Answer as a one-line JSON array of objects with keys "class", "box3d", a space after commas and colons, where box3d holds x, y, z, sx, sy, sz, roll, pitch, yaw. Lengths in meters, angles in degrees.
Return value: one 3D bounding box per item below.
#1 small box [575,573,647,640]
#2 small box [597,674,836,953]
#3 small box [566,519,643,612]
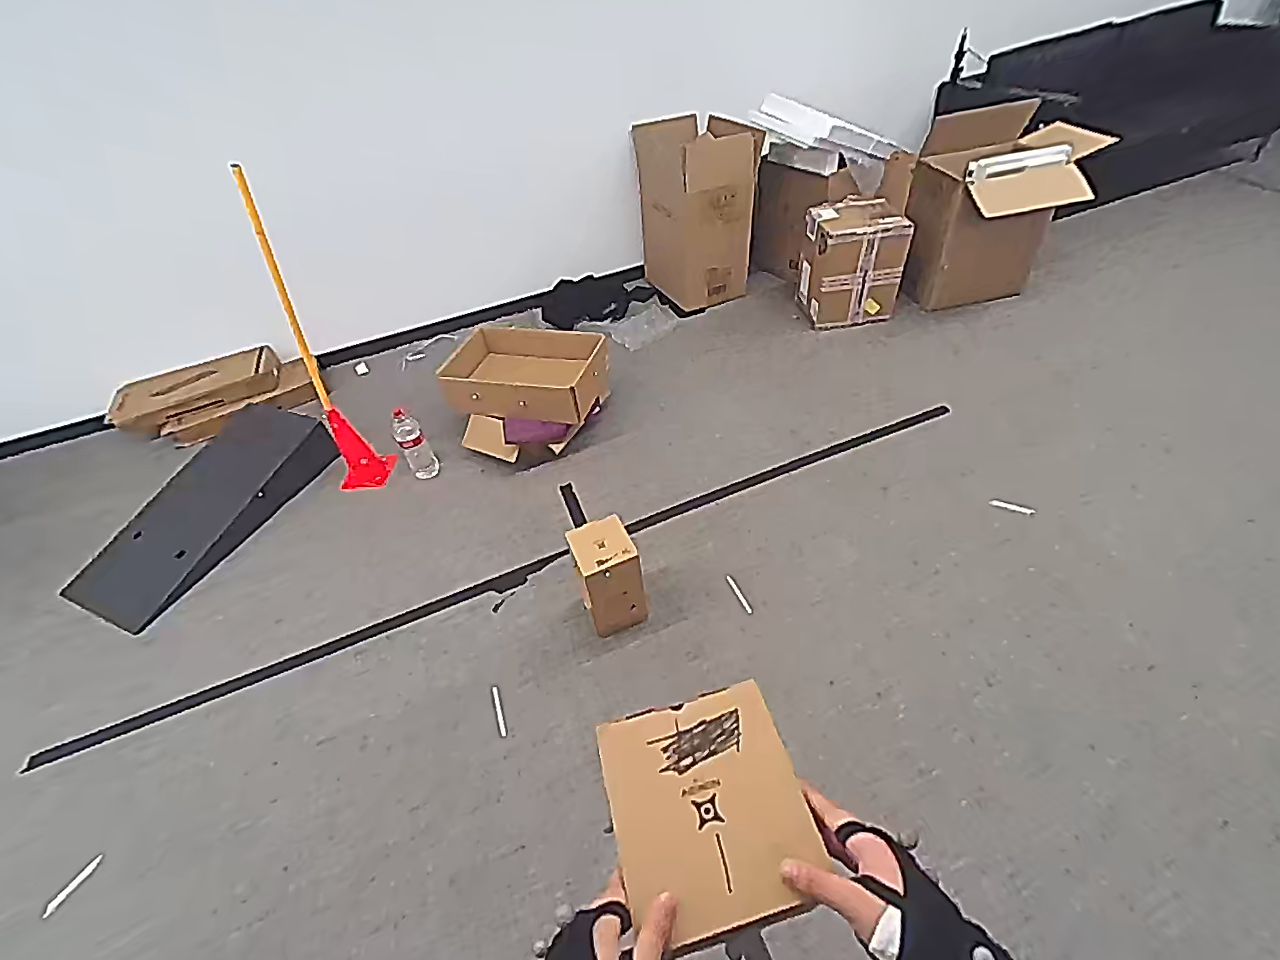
[{"class": "small box", "box3d": [-0.086, 0.367, 1.694, 0.179, 0.176, 0.168, -21, 44, -11]}, {"class": "small box", "box3d": [0.062, 0.324, 0.528, 0.168, 0.176, 0.179, -15, 47, -6]}, {"class": "small box", "box3d": [-0.101, 0.250, 1.580, 0.168, 0.176, 0.179, -21, 44, -13]}]
